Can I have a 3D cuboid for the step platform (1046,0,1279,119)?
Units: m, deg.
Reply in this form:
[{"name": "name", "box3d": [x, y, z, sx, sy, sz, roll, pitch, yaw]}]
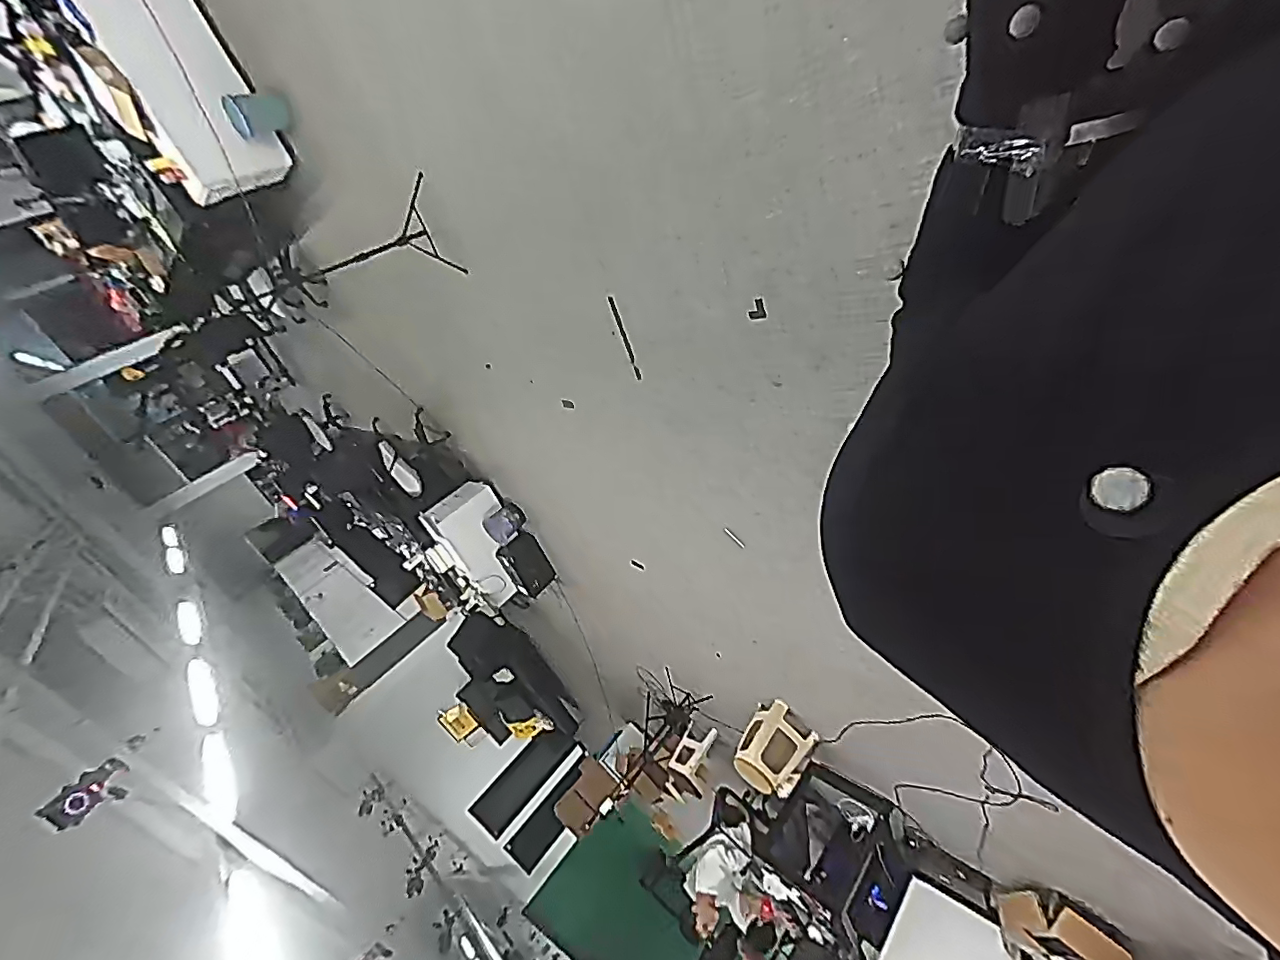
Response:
[{"name": "step platform", "box3d": [0.990, -0.750, 0.750, 0.684, 0.204, 0.286, 15, 137, 42]}]
